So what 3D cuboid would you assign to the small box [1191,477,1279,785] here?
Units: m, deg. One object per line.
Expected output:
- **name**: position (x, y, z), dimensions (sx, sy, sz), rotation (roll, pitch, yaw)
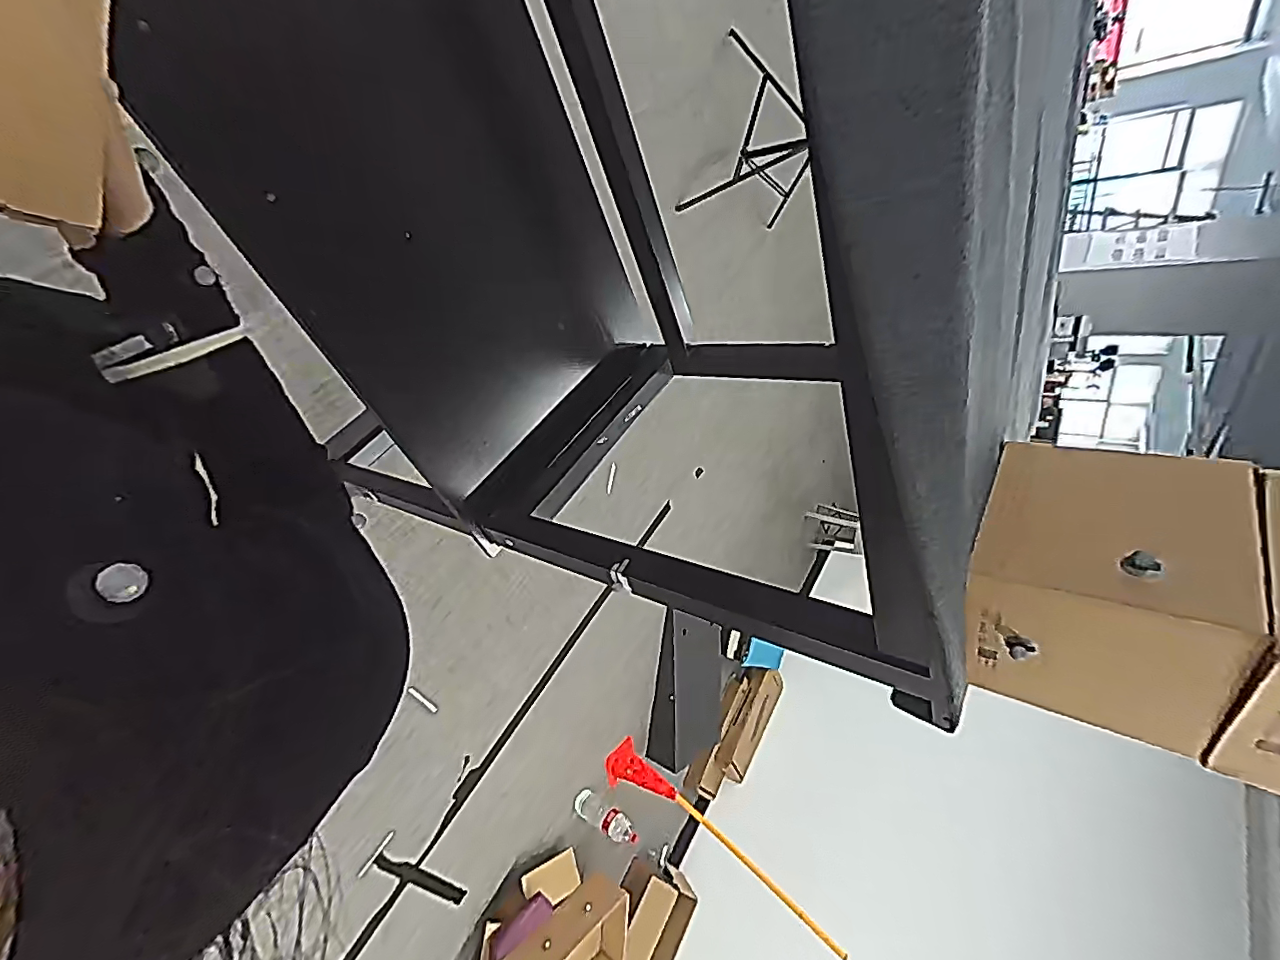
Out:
- **small box**: position (0.519, 0.117, 0.373), dimensions (0.179, 0.176, 0.168), rotation (-51, 134, -30)
